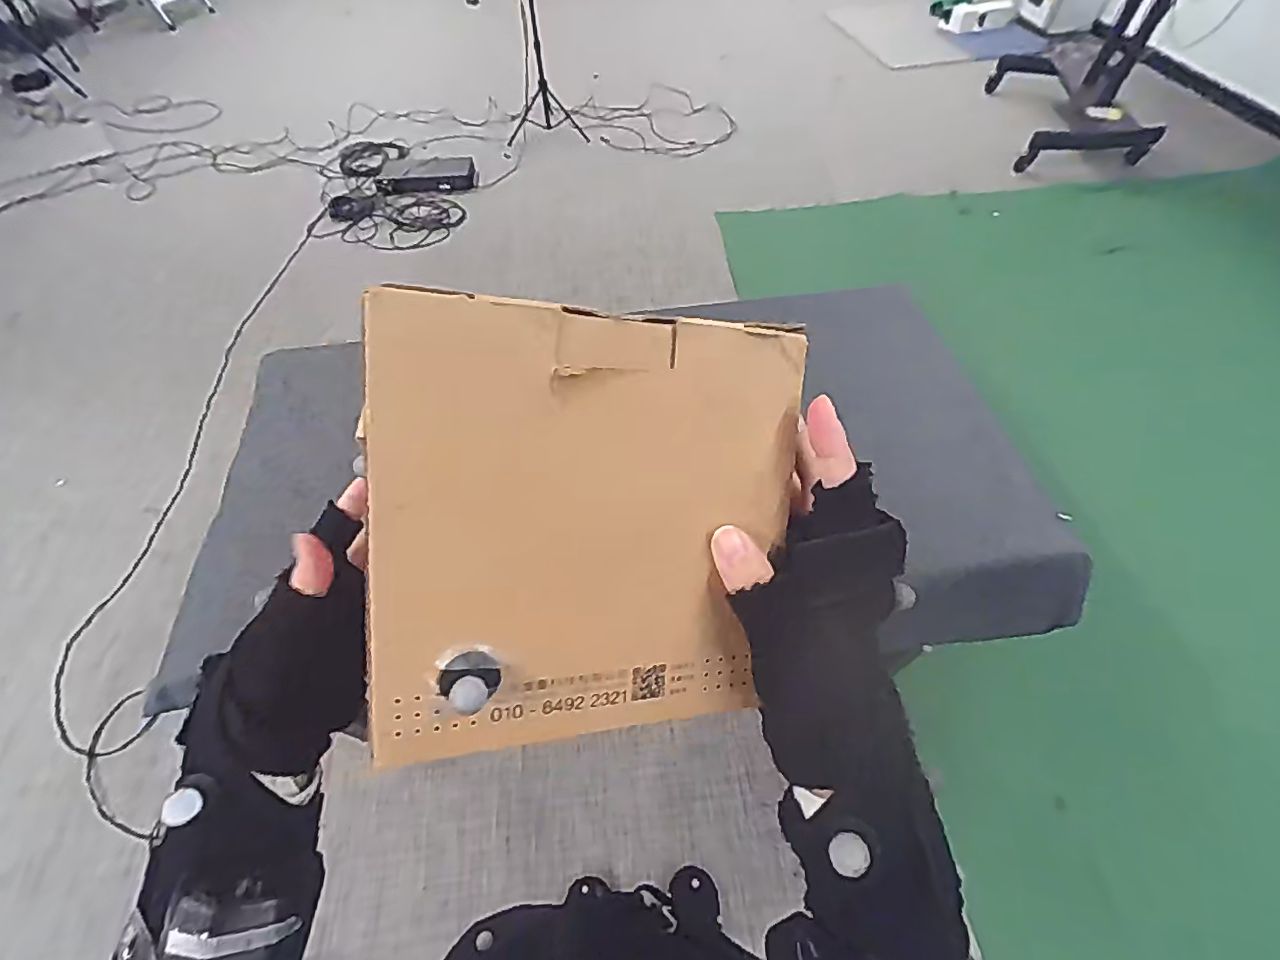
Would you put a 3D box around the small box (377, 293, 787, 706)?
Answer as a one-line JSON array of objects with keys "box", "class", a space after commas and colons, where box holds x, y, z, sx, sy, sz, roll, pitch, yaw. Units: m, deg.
[{"box": [-0.044, 0.005, 0.295, 0.168, 0.176, 0.179, 1, 9, -21], "class": "small box"}]
